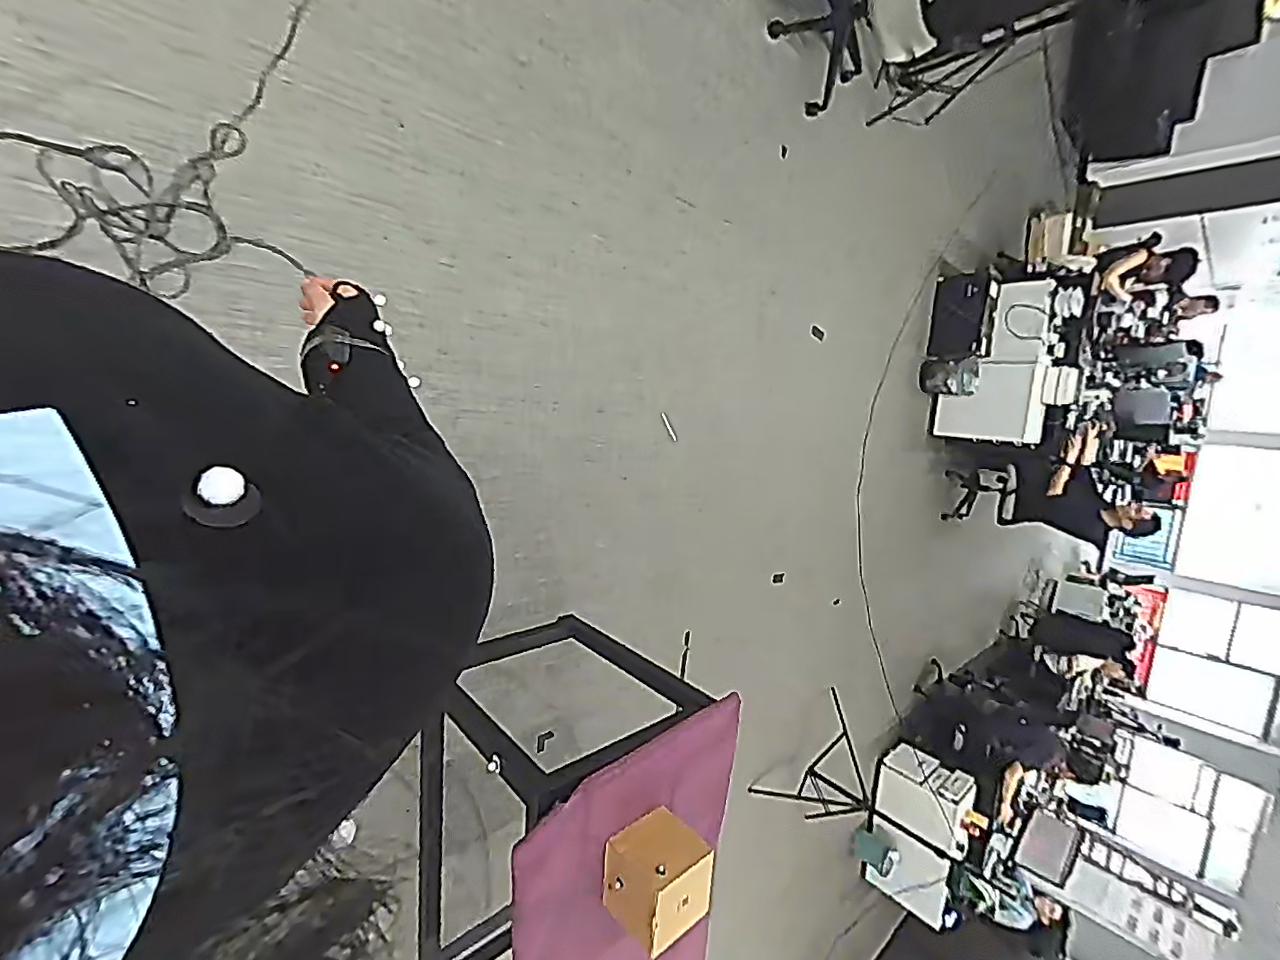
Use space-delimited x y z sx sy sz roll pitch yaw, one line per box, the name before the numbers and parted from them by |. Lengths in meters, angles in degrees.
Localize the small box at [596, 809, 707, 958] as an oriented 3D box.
small box | 0.025 0.886 1.211 0.179 0.176 0.168 -5 103 -41
